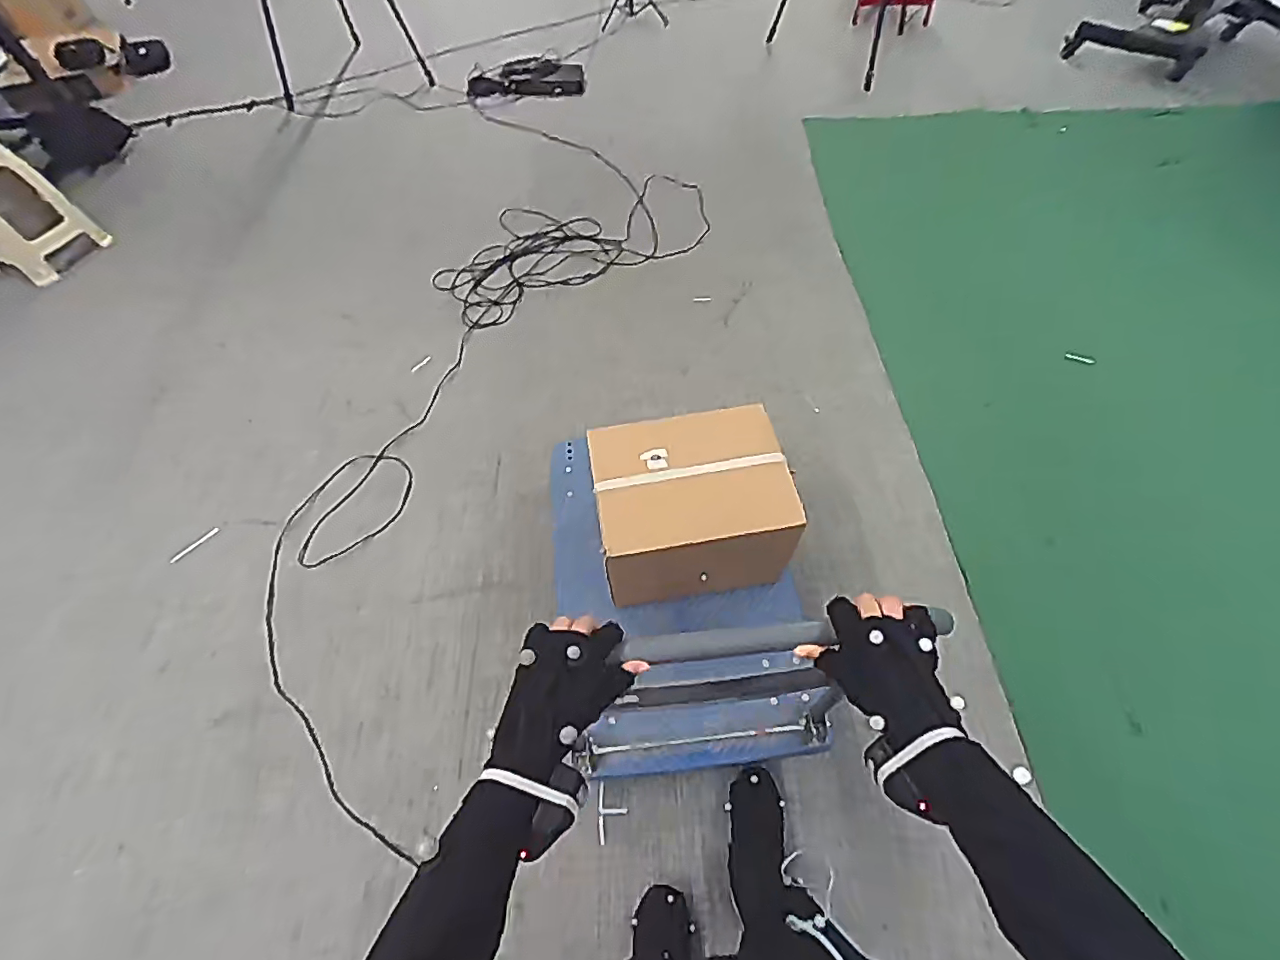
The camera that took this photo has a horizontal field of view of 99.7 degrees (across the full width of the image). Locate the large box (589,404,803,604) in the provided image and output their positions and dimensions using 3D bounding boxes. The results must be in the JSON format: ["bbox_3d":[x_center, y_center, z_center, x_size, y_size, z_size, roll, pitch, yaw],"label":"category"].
[{"bbox_3d":[0.116,0.066,1.272,0.408,0.320,0.320,-11,59,-3],"label":"large box"}]
